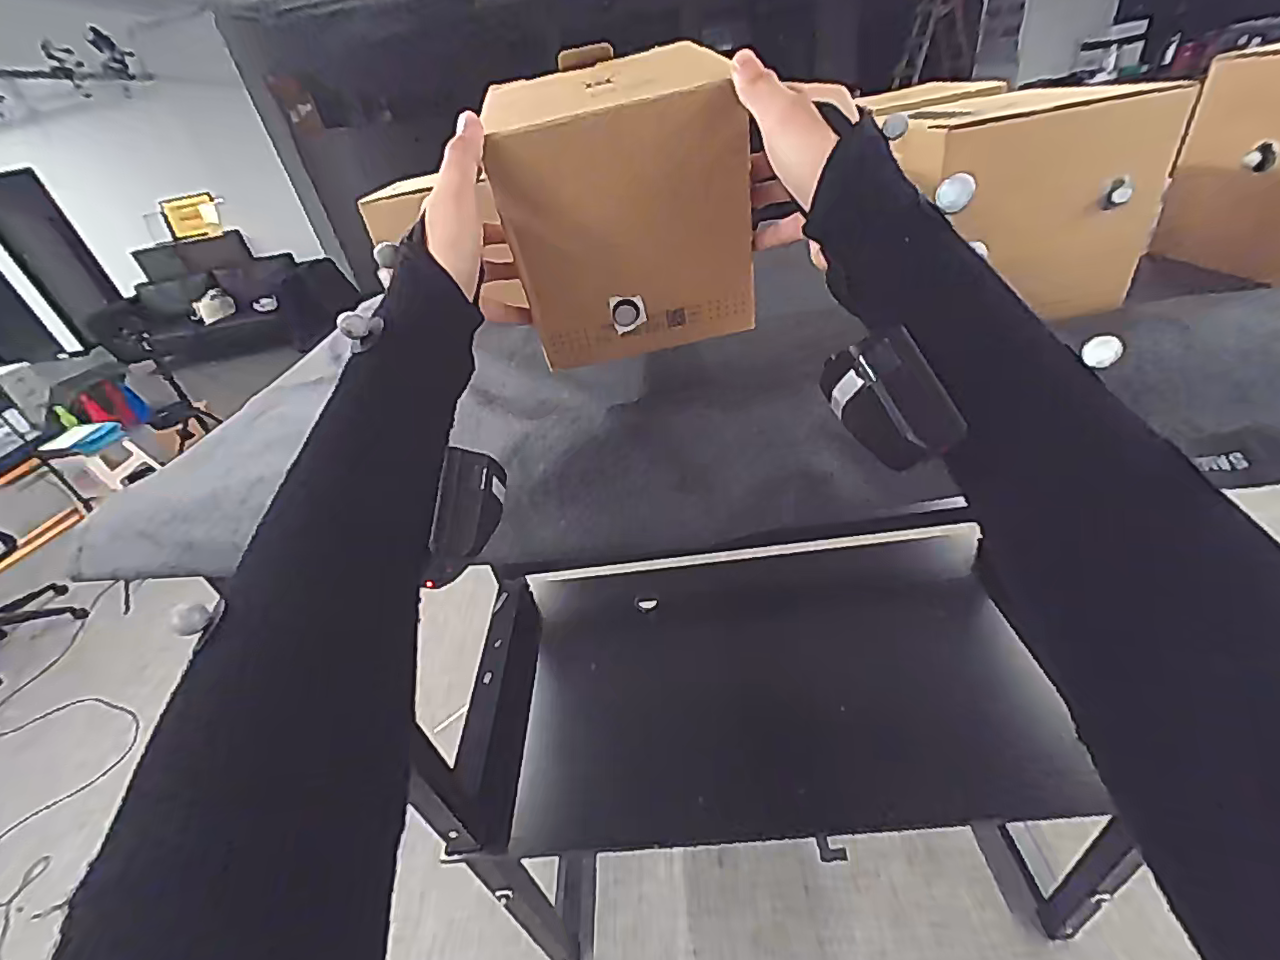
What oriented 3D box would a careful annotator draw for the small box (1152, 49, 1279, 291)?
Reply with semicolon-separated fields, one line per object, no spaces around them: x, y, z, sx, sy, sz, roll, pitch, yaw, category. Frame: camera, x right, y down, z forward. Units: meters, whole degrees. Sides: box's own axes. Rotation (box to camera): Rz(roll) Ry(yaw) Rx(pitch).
0.600;-0.265;0.447;0.168;0.176;0.179;-10;34;2;small box

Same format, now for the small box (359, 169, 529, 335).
-0.240;-0.315;0.743;0.179;0.176;0.168;-8;36;2;small box

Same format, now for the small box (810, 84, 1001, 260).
0.330;-0.401;0.712;0.168;0.176;0.179;-9;35;4;small box

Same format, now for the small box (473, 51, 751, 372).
-0.016;-0.211;0.426;0.168;0.176;0.179;-13;44;1;small box
